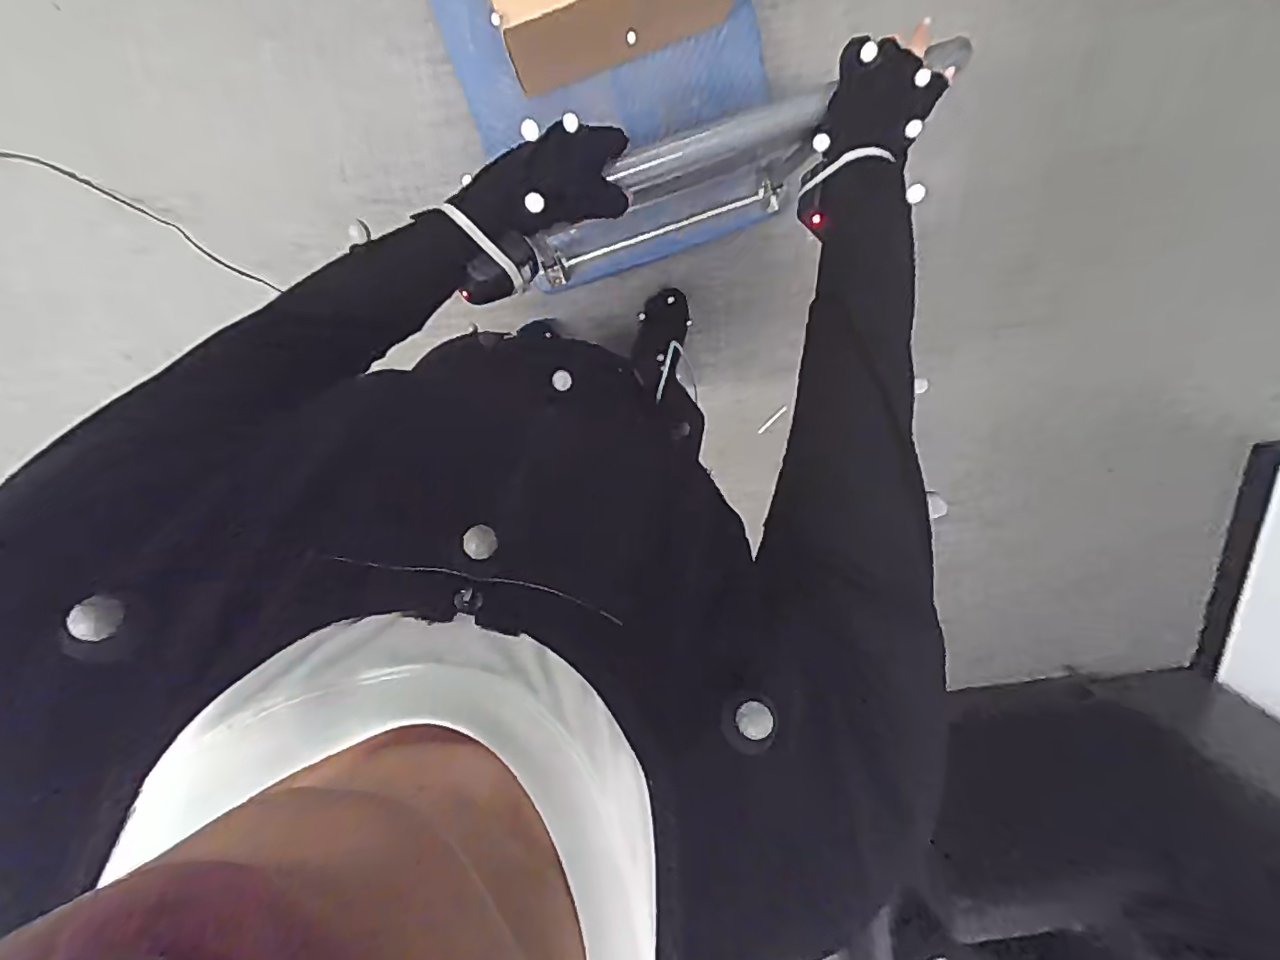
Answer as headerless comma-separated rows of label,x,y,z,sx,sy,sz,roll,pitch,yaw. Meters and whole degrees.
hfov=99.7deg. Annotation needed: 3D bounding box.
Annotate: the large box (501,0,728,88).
large box,-0.059,-0.909,0.855,0.408,0.320,0.320,-20,110,3
